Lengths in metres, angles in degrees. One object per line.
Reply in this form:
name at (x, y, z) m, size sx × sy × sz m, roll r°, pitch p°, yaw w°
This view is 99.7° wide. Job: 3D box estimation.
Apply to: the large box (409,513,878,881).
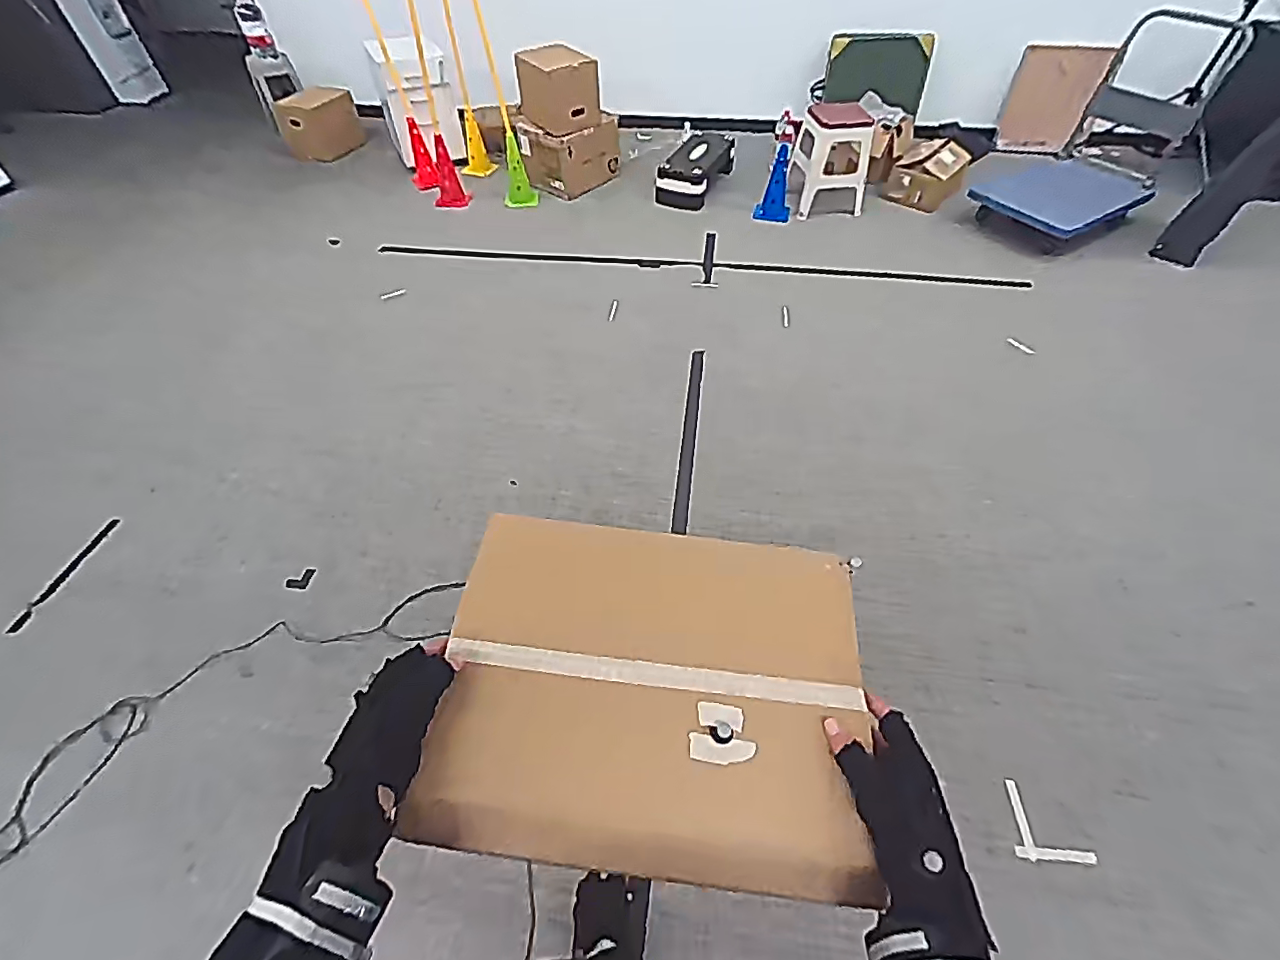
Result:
large box at (0.008, 0.267, 0.653) m, size 0.408 × 0.320 × 0.320 m, roll 7°, pitch 56°, yaw 2°
